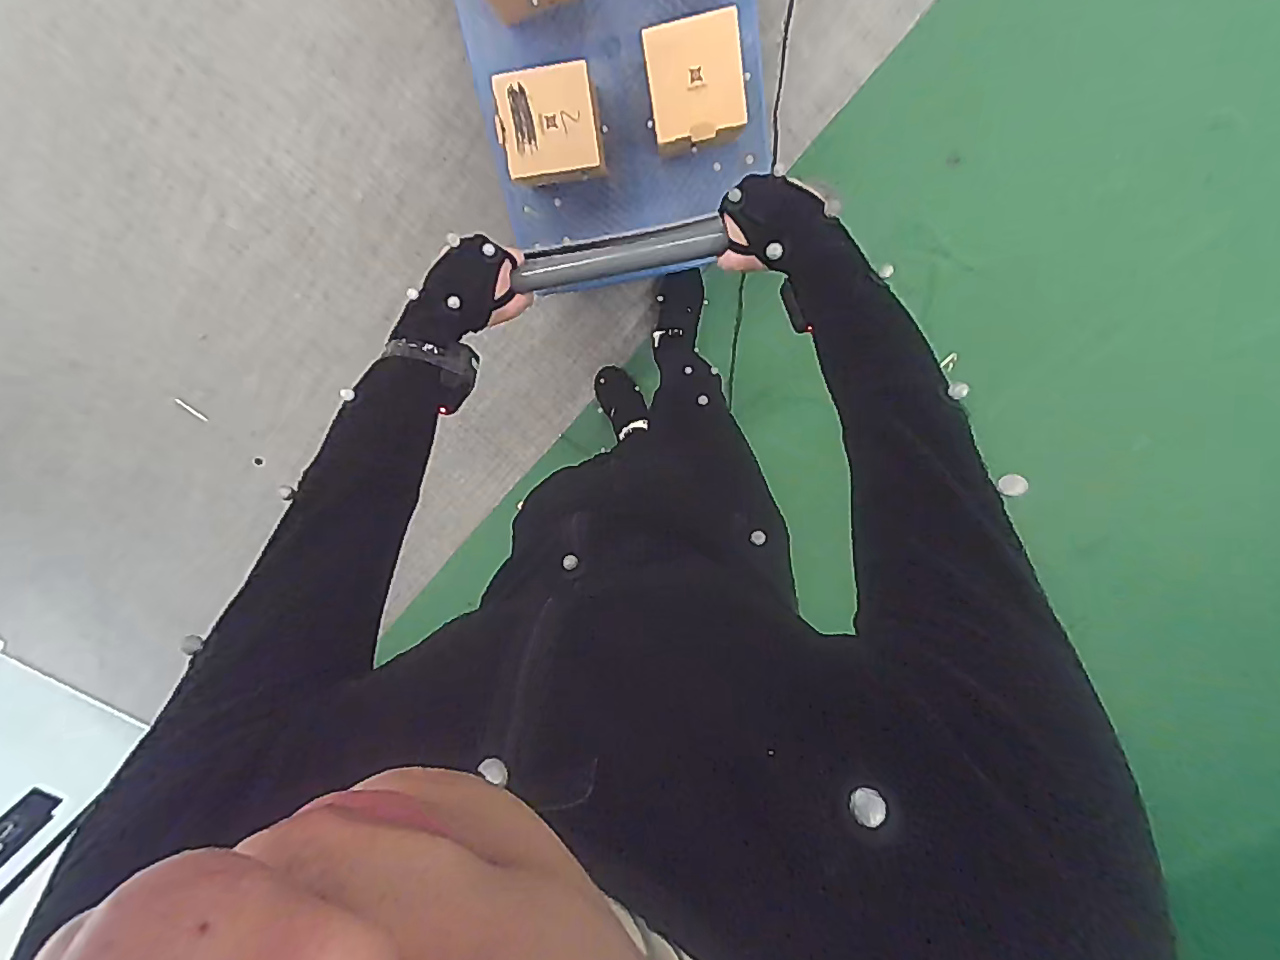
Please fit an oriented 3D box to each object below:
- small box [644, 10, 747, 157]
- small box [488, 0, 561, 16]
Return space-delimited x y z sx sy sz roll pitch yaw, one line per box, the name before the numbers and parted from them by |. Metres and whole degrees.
small box | 0.101 -0.735 1.023 0.168 0.176 0.179 -9 114 6
small box | -0.212 -0.948 0.936 0.168 0.176 0.179 -14 113 8
